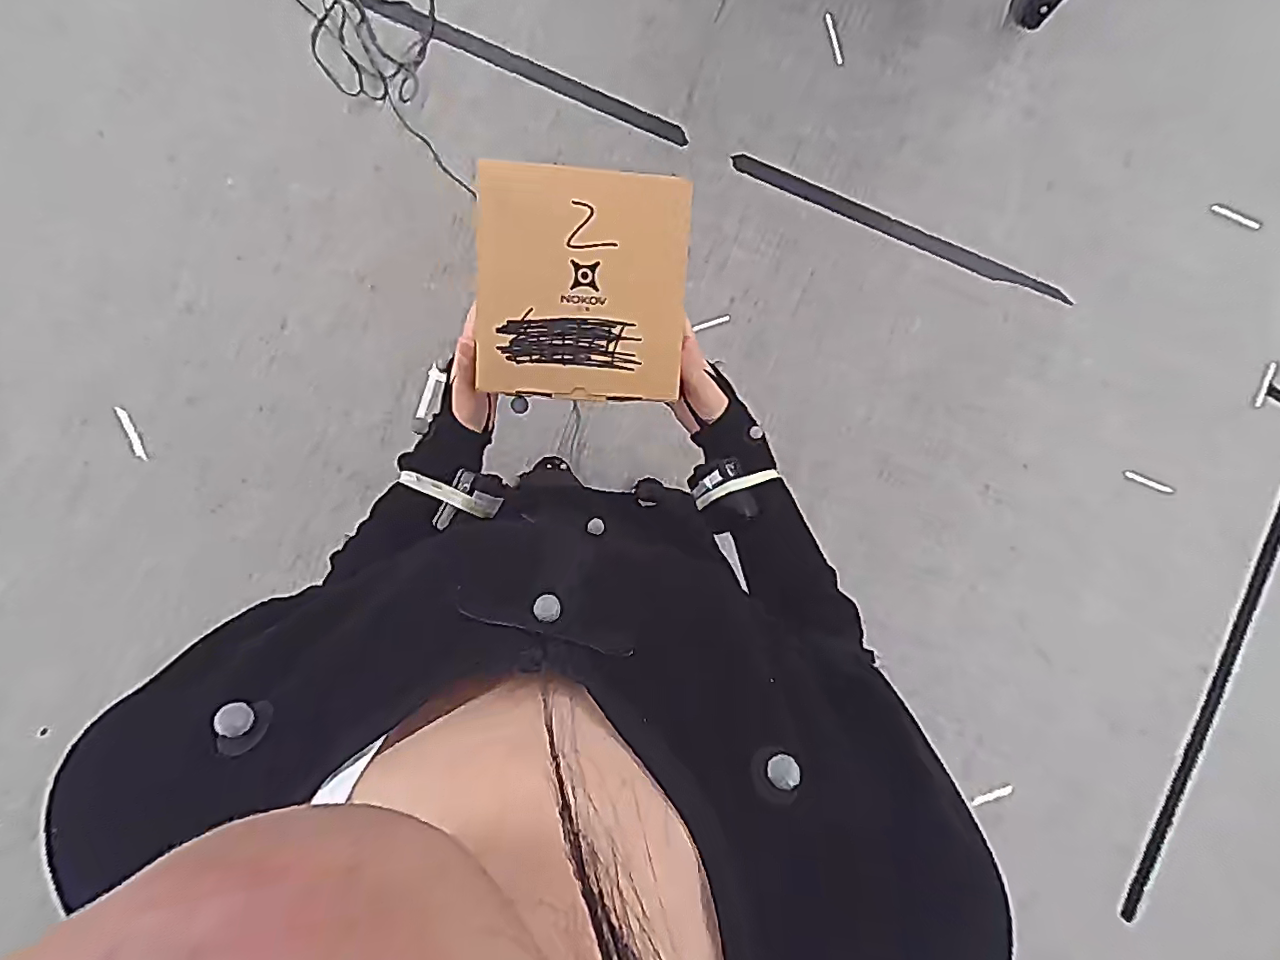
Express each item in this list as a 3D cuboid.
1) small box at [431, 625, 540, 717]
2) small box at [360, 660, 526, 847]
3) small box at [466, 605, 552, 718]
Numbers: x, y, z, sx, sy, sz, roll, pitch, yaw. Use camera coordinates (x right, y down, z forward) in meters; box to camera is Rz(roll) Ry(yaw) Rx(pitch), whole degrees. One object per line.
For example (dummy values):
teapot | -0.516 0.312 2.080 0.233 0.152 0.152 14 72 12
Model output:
small box | -0.284 0.377 0.959 0.168 0.176 0.179 17 91 -2
small box | -0.274 0.385 0.794 0.168 0.176 0.179 13 90 -1
small box | -0.289 0.381 1.121 0.168 0.176 0.179 18 89 -3
